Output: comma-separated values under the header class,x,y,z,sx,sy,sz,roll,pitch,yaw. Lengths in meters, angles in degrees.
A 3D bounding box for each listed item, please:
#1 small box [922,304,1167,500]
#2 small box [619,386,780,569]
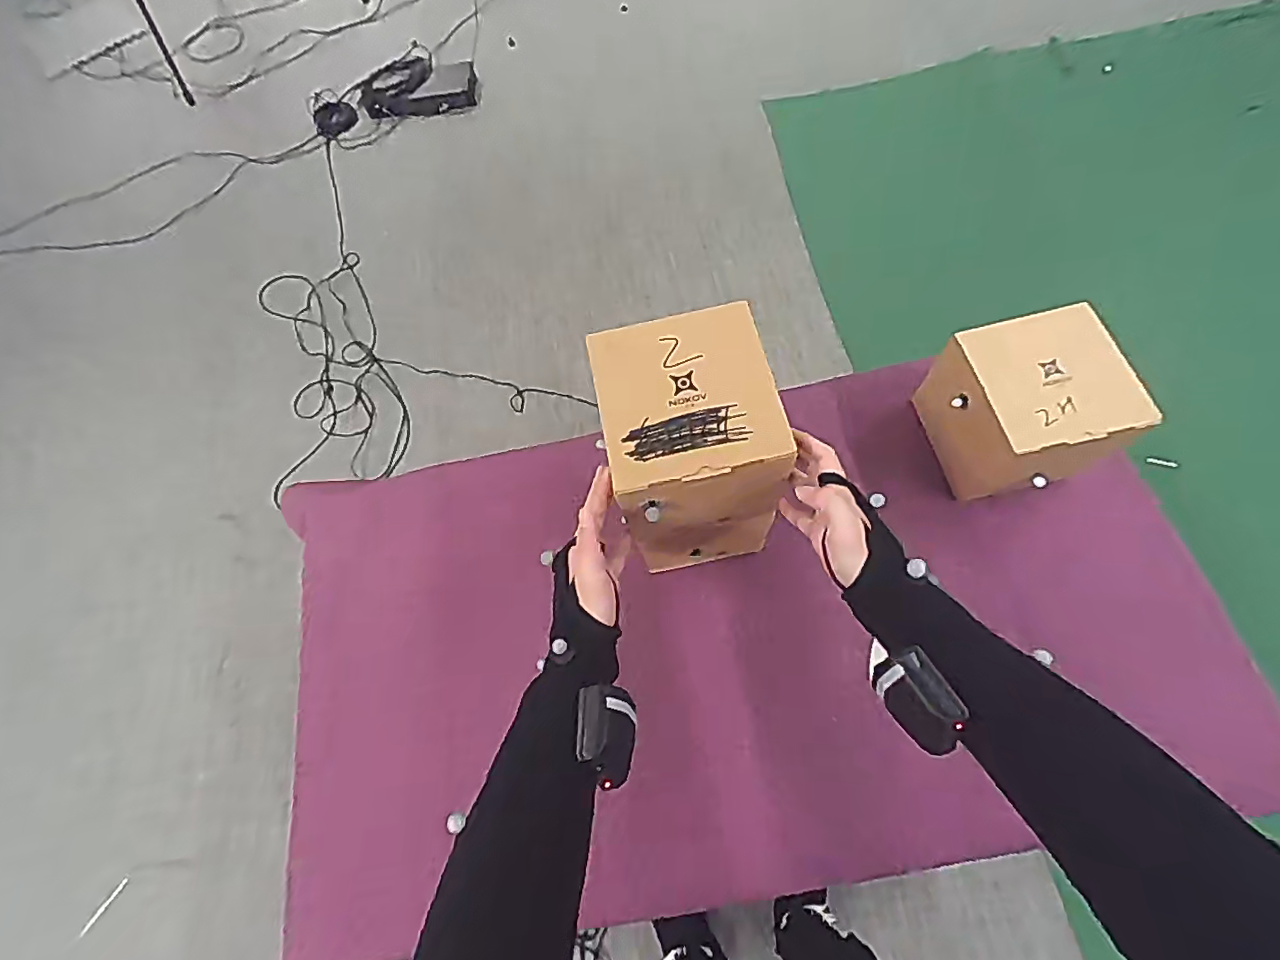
class,x,y,z,sx,sy,sz,roll,pitch,yaw
small box,0.503,-0.094,0.710,0.168,0.176,0.179,-13,67,4
small box,0.072,0.004,0.721,0.168,0.176,0.179,-12,68,1
